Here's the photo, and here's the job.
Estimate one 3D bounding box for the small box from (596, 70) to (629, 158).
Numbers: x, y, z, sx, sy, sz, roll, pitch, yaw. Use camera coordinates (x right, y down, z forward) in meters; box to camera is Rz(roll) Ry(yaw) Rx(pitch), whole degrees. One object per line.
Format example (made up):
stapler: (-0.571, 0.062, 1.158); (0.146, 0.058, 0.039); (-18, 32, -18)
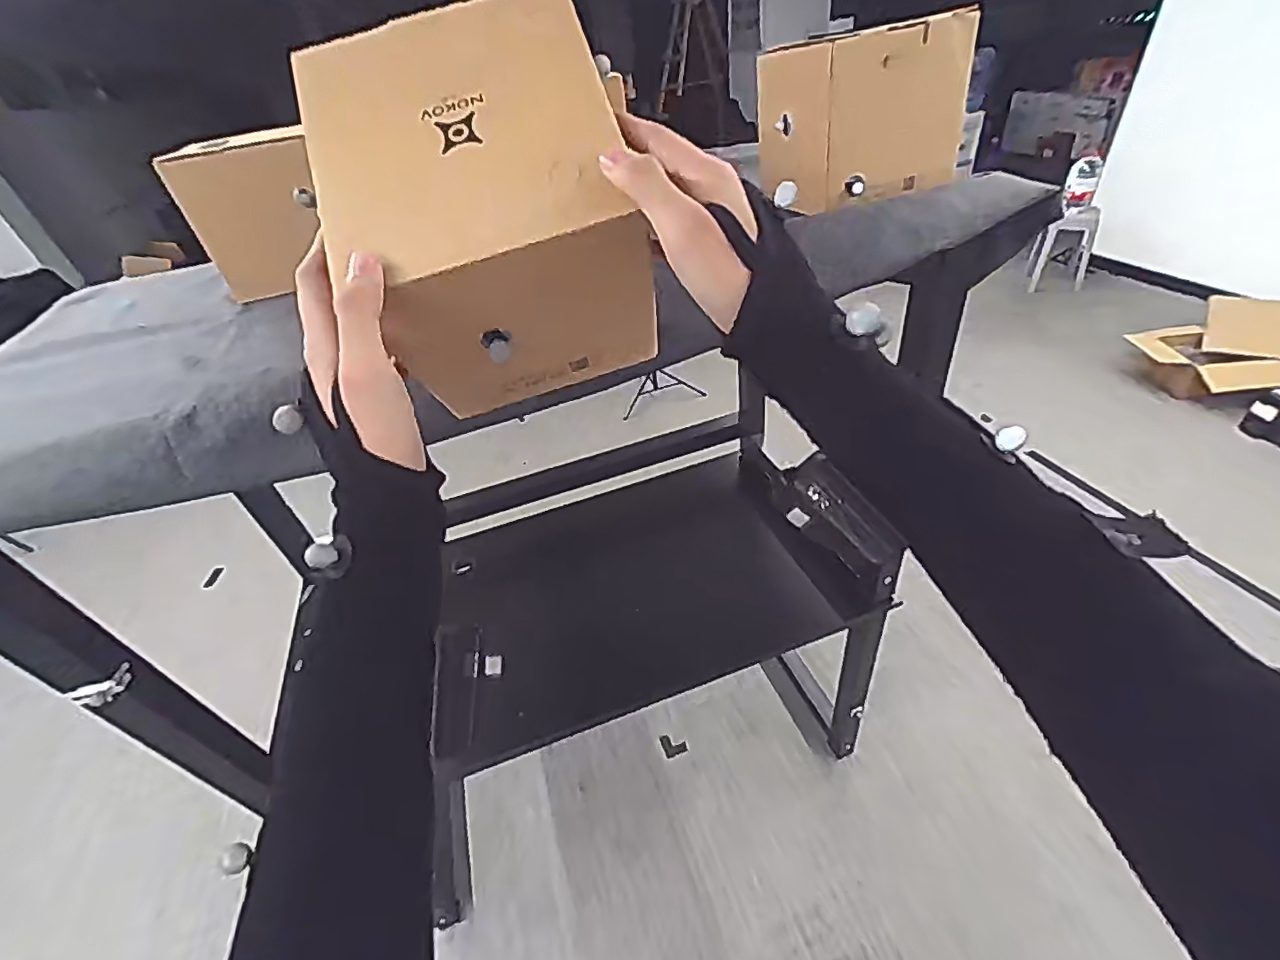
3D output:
small box: (-0.120, -0.502, 0.820); (0.168, 0.176, 0.179); (-18, 39, -10)

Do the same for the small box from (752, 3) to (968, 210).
small box: (0.250, -0.437, 0.652); (0.168, 0.176, 0.179); (-16, 36, -7)

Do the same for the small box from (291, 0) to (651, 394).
small box: (-0.095, -0.177, 0.370); (0.168, 0.176, 0.179); (-18, 74, -1)
